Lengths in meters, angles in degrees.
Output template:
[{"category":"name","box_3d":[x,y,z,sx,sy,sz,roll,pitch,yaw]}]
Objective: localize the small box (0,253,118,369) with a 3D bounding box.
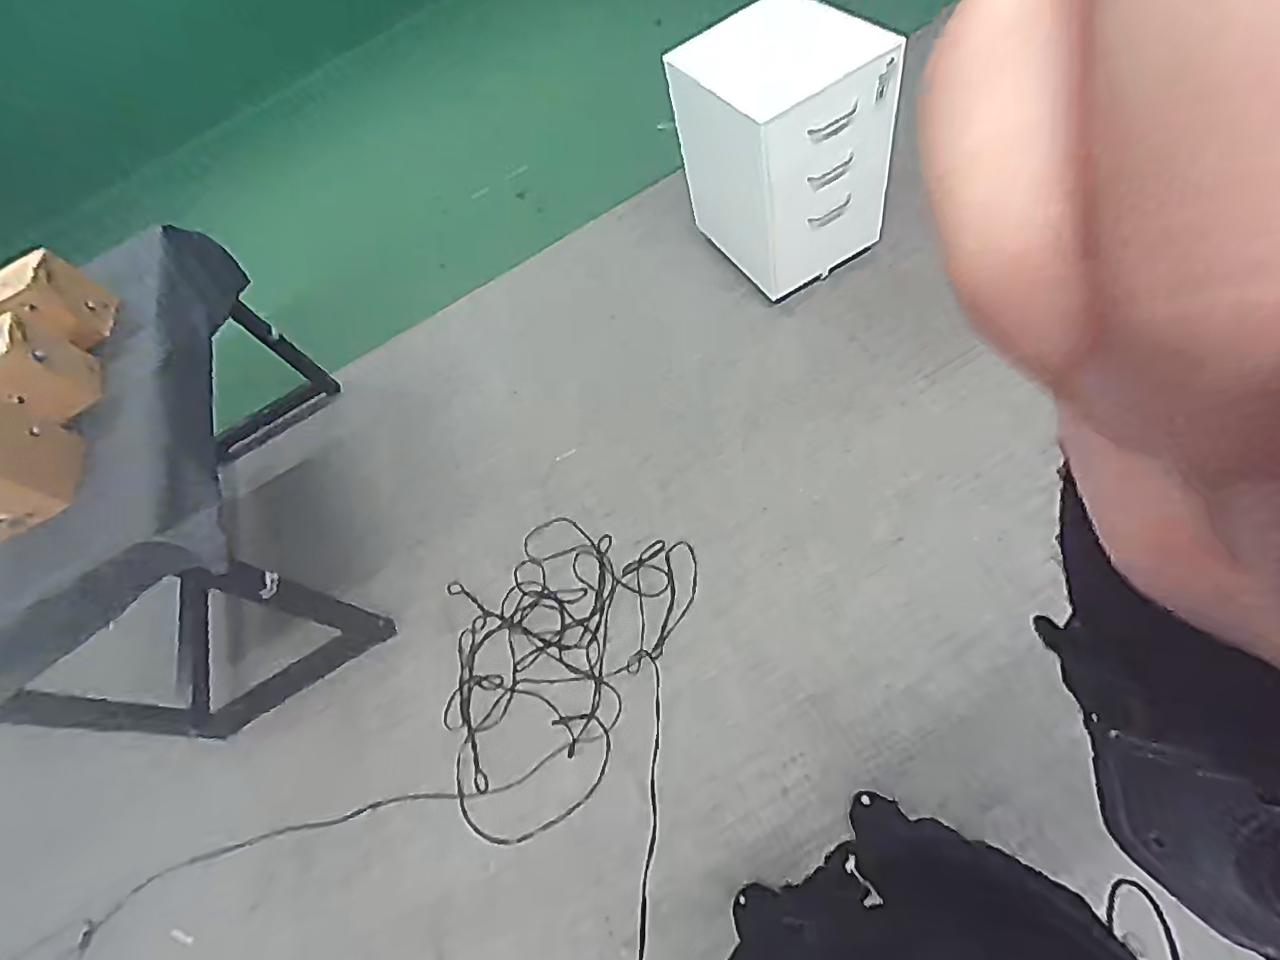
[{"category":"small box","box_3d":[-1.432,-0.401,1.303,0.179,0.176,0.168,-26,57,1]}]

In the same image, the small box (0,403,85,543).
[{"category":"small box","box_3d":[-1.205,-0.011,1.009,0.168,0.176,0.179,-28,58,2]}]
